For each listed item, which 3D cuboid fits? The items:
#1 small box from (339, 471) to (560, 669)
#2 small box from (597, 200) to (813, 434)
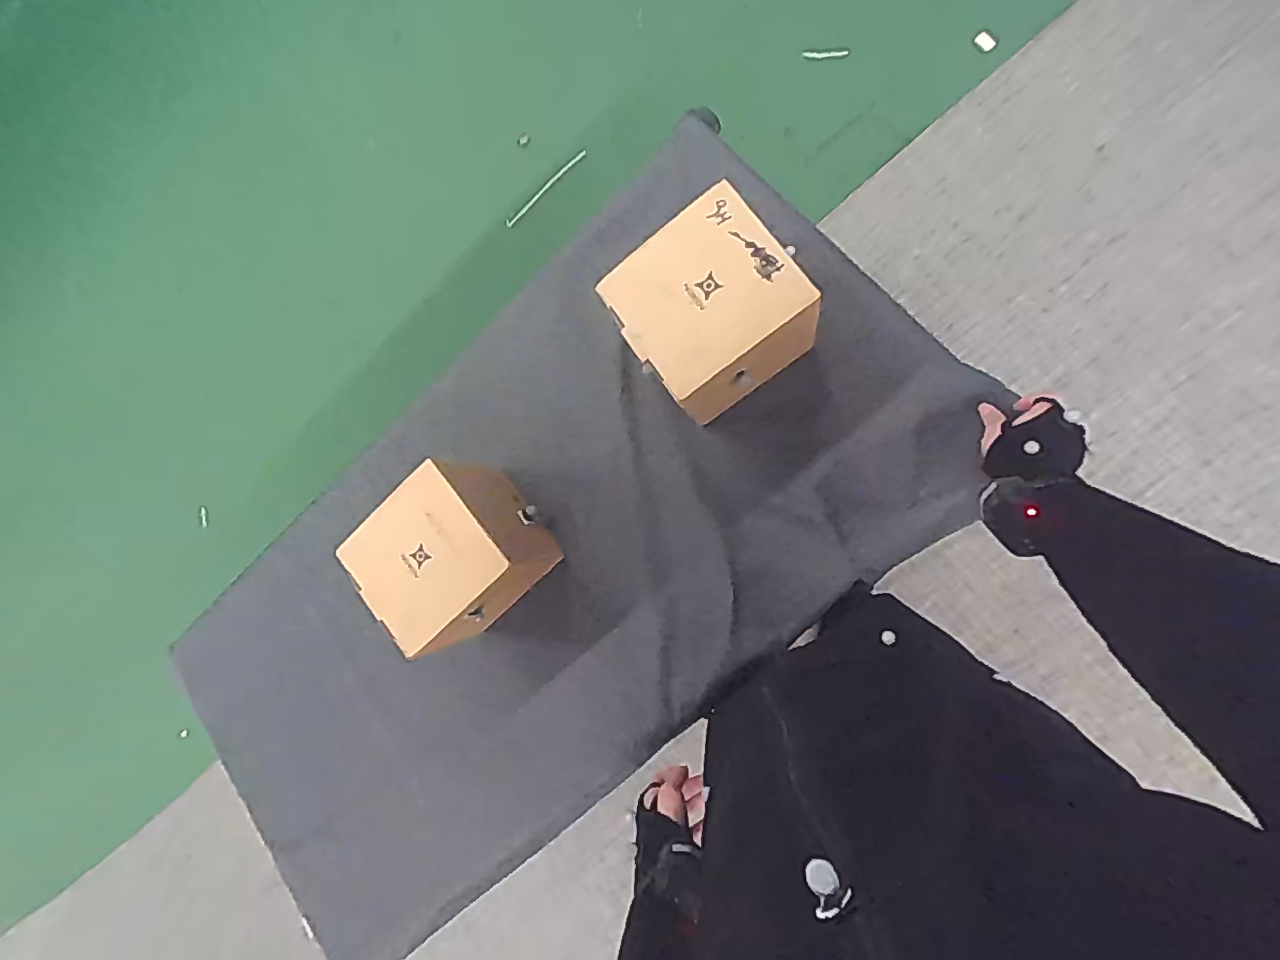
[{"bbox_3d":[-0.236,0.111,0.706,0.179,0.176,0.168,-43,78,7],"label":"small box"},{"bbox_3d":[0.084,-0.173,0.638,0.179,0.176,0.168,-36,78,11],"label":"small box"}]
